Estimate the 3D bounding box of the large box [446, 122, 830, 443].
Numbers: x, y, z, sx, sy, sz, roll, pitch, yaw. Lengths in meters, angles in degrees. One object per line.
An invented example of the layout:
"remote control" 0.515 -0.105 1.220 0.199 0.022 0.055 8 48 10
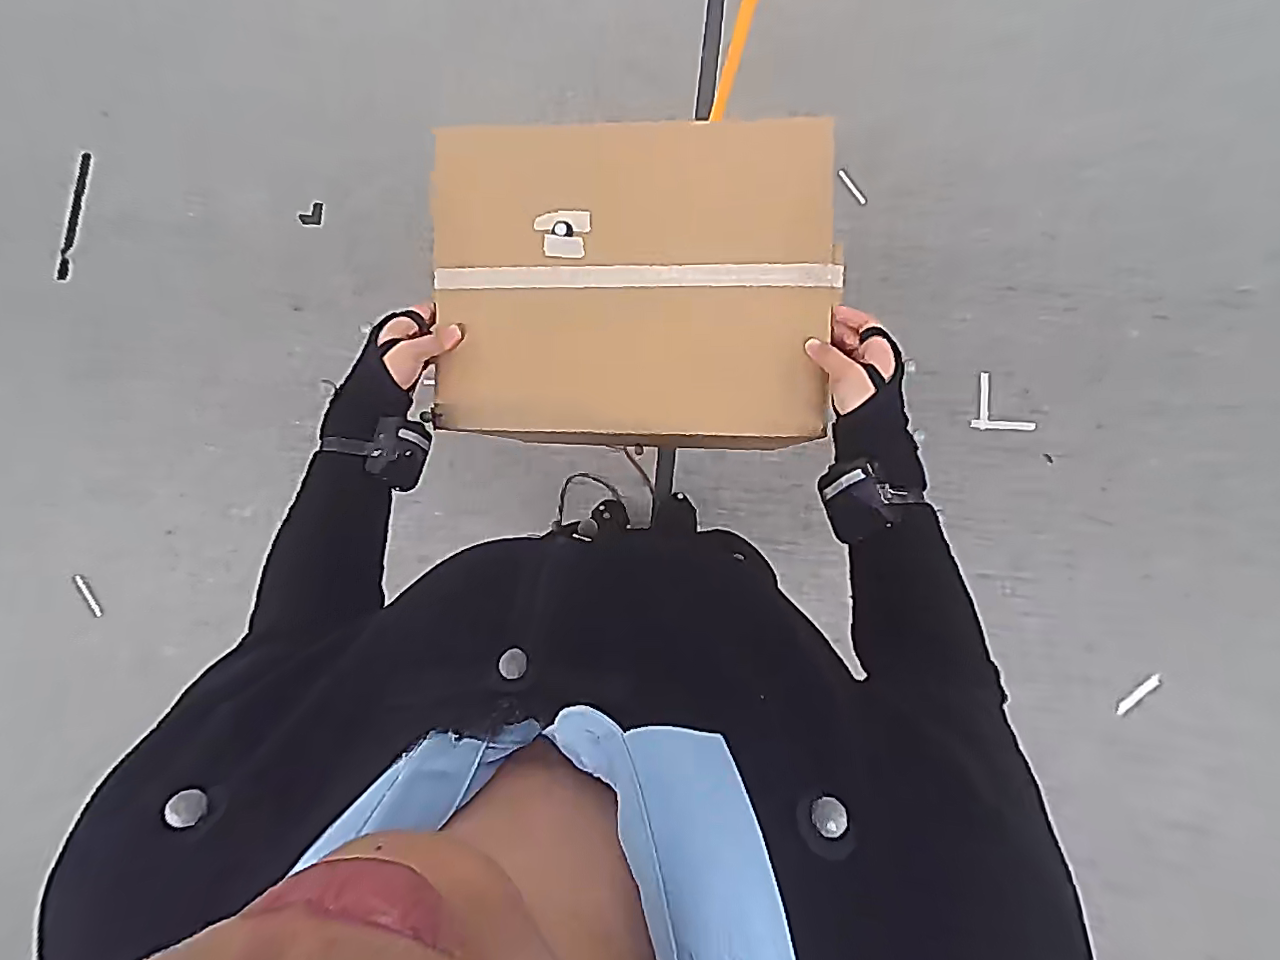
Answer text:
"large box" 0.008 -0.208 0.707 0.408 0.320 0.320 2 90 6
